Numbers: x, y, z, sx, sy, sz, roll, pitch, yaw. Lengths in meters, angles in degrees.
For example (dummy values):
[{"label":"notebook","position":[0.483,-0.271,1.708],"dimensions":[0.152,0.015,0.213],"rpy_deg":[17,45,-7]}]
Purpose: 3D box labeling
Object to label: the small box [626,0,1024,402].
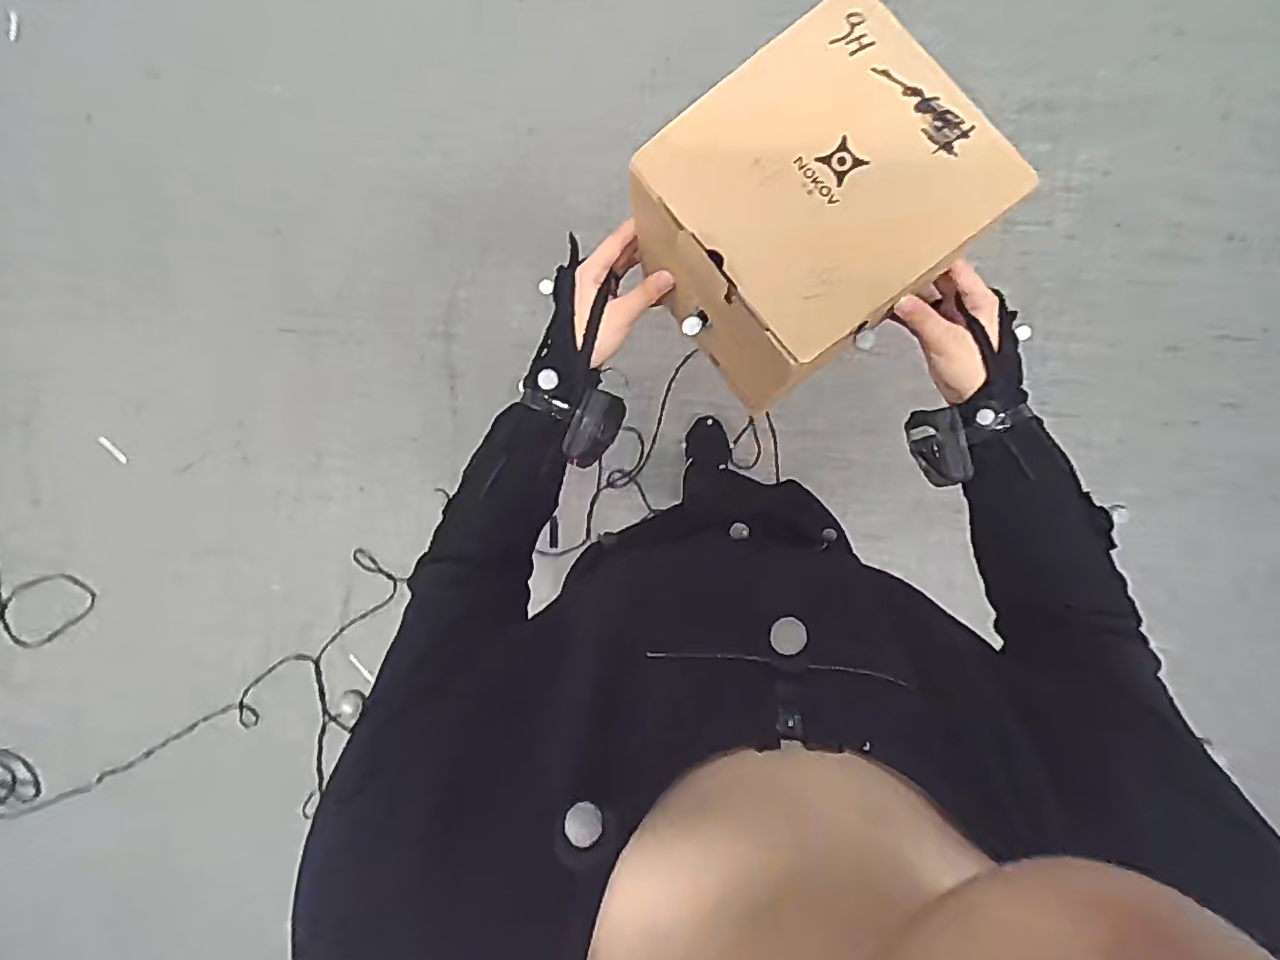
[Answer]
[{"label":"small box","position":[0.114,-0.180,0.400],"dimensions":[0.179,0.176,0.168],"rpy_deg":[-38,85,2]}]
